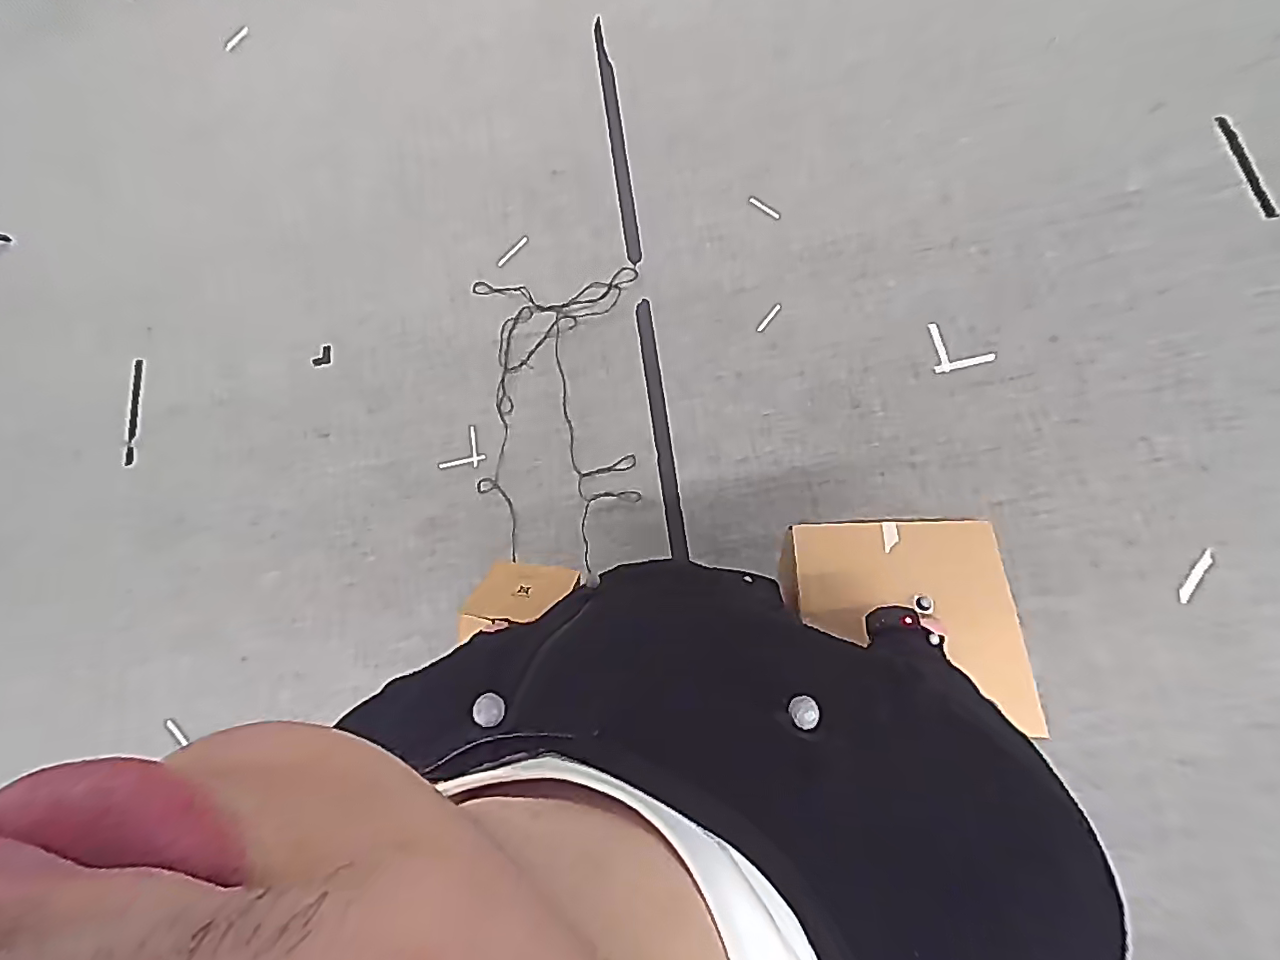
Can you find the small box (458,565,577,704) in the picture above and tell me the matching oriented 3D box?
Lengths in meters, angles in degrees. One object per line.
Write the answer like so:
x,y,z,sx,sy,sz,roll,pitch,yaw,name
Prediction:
-0.214,0.279,0.987,0.168,0.179,0.176,7,111,5,small box
